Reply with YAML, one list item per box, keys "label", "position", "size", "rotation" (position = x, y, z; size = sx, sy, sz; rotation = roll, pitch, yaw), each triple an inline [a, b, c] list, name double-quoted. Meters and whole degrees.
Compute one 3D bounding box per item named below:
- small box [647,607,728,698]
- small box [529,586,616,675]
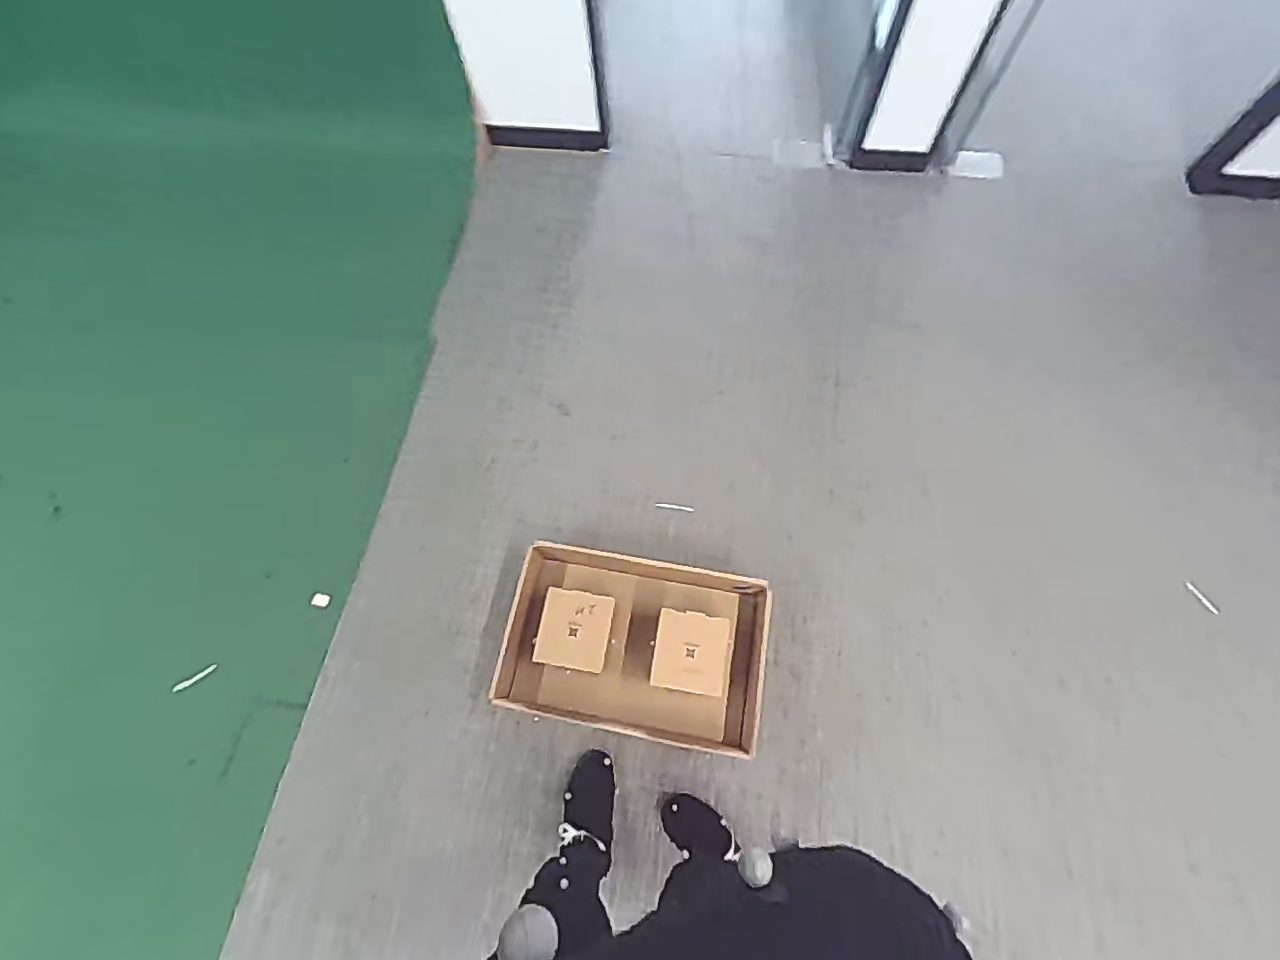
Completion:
- label: "small box"
  position: [0.113, 0.421, 1.308]
  size: [0.168, 0.176, 0.179]
  rotation: [9, 70, 7]
- label: "small box"
  position: [-0.158, 0.376, 1.334]
  size: [0.168, 0.176, 0.179]
  rotation: [10, 69, 5]
